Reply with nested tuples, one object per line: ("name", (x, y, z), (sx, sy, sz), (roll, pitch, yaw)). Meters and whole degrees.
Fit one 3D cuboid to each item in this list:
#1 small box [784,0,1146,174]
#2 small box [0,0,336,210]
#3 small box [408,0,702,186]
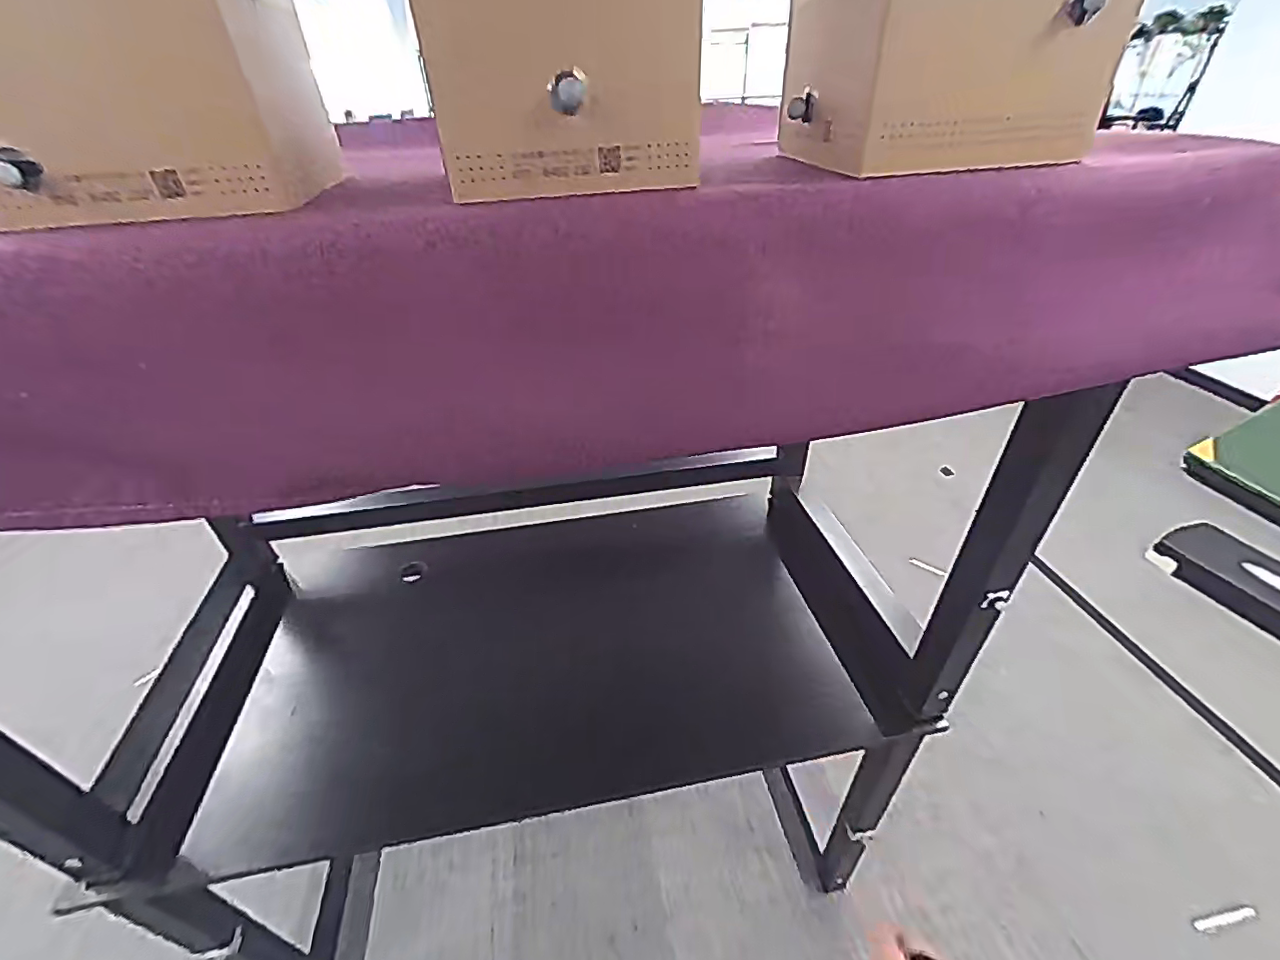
("small box", (0.220, -0.330, 0.388), (0.179, 0.176, 0.168), (-7, 36, -5))
("small box", (-0.316, -0.271, 0.335), (0.168, 0.176, 0.179), (-9, 36, -9))
("small box", (-0.060, -0.303, 0.365), (0.168, 0.176, 0.179), (-9, 37, -8))
